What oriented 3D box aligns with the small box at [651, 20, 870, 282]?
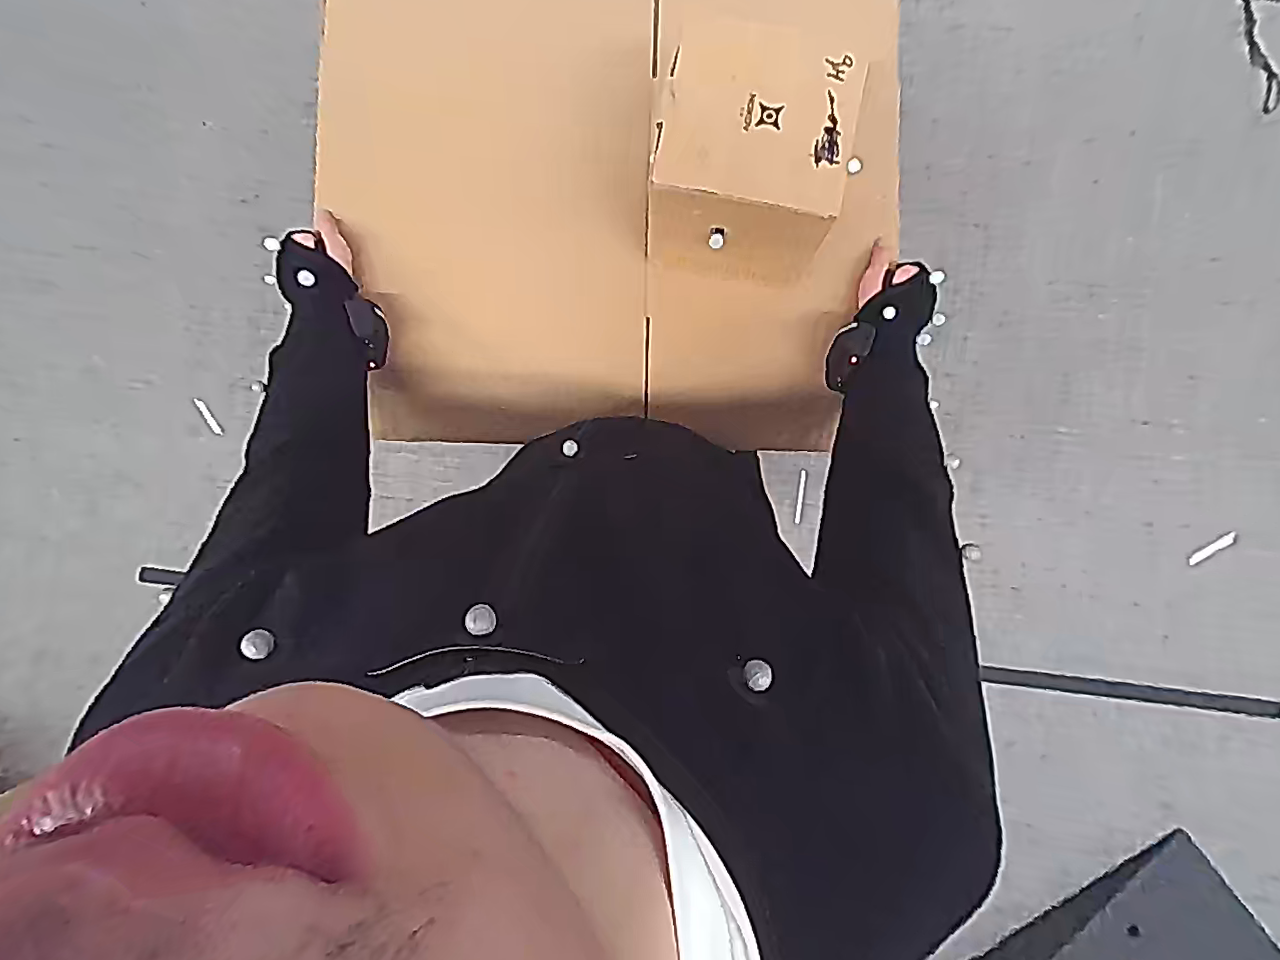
[{"bbox_3d":[0.115,-0.332,0.578,0.179,0.176,0.168,12,88,4],"label":"small box"}]
